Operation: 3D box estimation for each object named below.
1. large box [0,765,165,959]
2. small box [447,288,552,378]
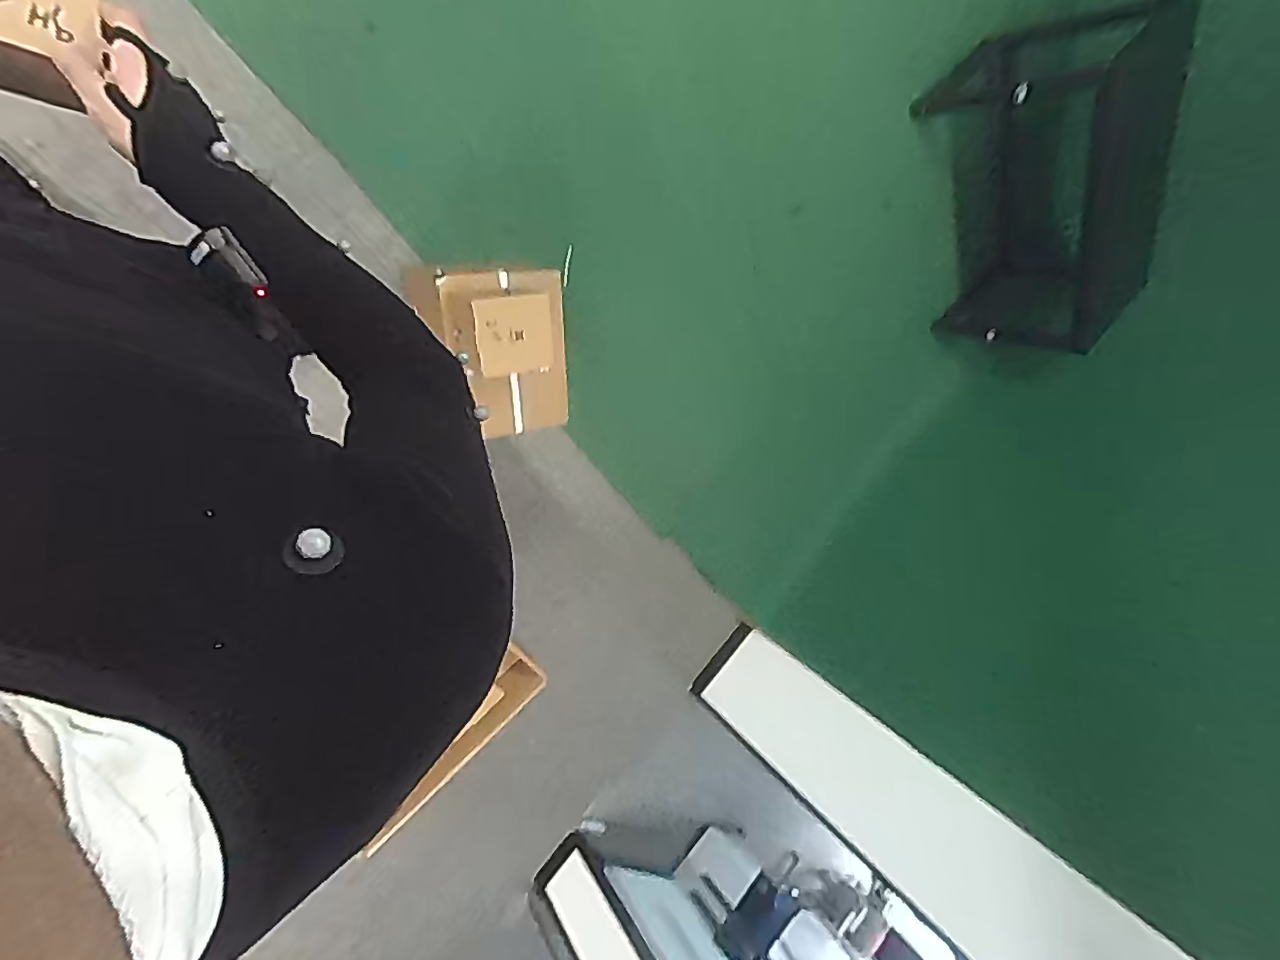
[{"bbox_3d":[-1.478,1.005,1.306,0.408,0.320,0.320,-29,127,-26],"label":"large box"},{"bbox_3d":[-0.320,-0.343,1.238,0.179,0.176,0.168,-17,121,-30],"label":"small box"}]
